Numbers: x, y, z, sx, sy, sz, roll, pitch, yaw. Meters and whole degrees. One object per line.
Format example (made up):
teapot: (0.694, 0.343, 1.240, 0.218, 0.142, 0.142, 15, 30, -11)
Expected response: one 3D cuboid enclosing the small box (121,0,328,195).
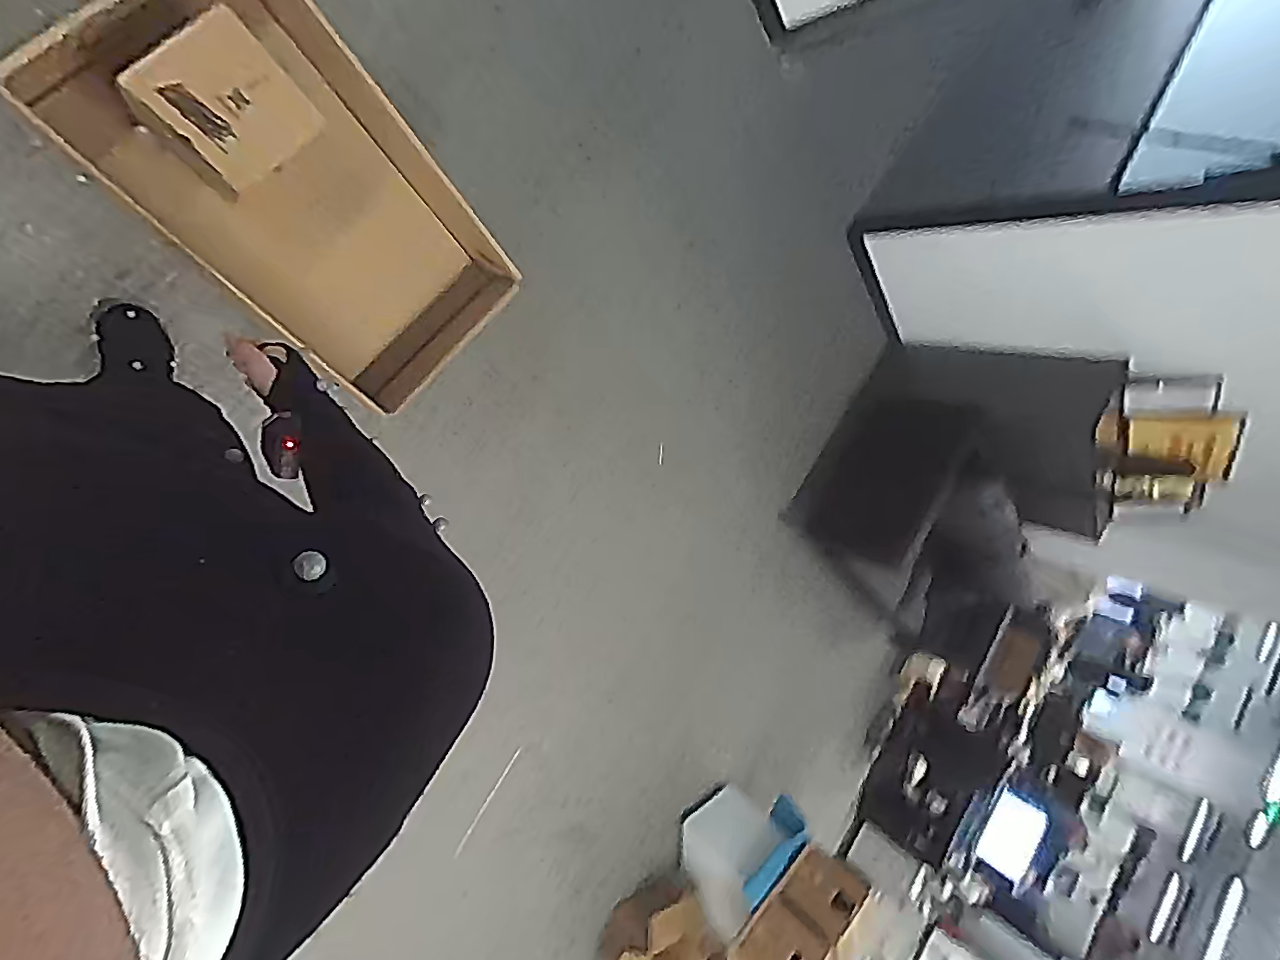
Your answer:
small box: (-0.614, -0.559, 0.814, 0.179, 0.176, 0.168, -52, 131, -13)
